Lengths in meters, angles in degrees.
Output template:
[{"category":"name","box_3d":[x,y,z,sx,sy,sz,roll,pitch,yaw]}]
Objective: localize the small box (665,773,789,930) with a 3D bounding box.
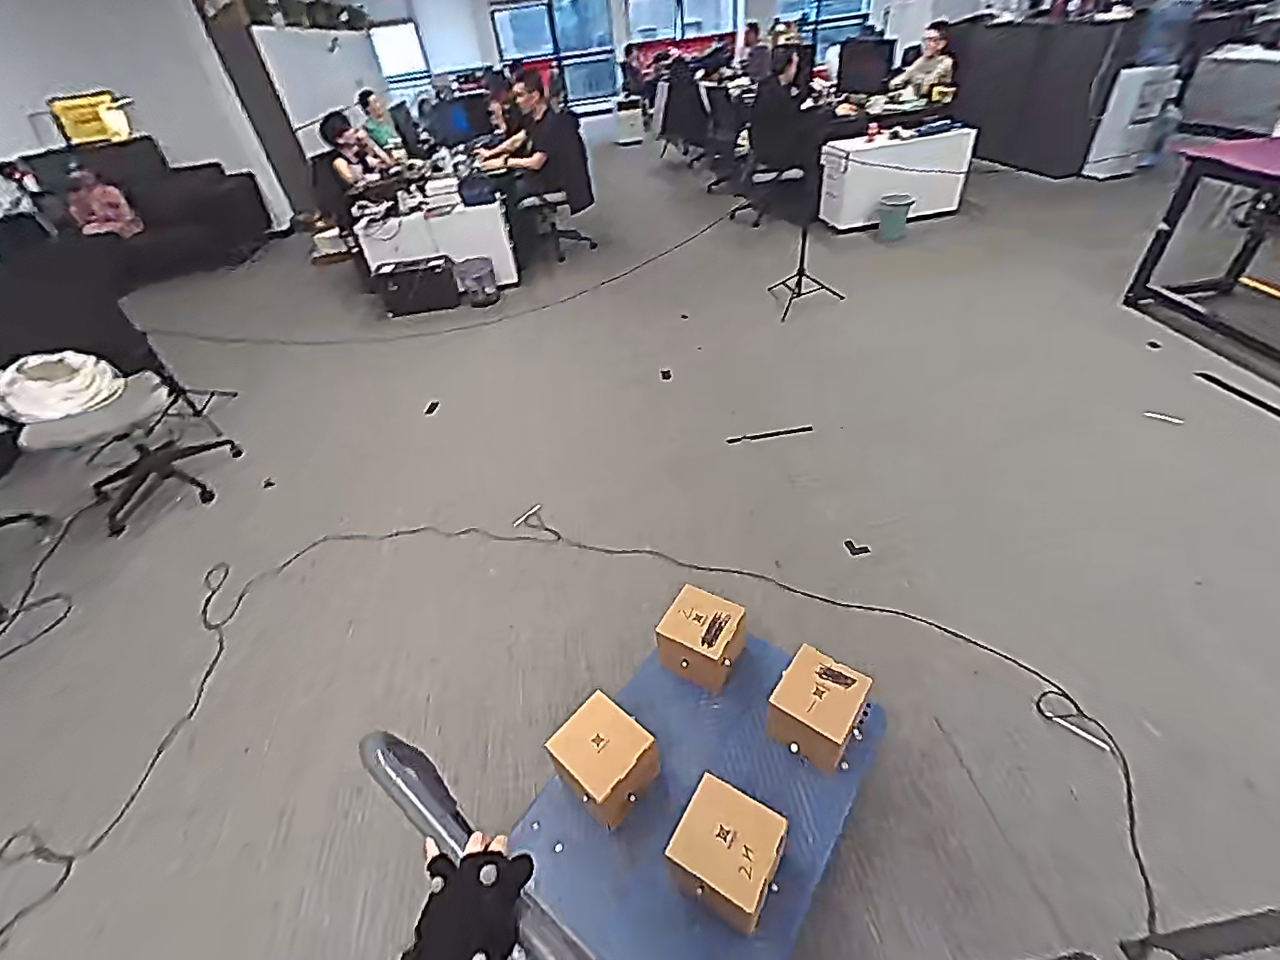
[{"category":"small box","box_3d":[0.168,0.715,1.040,0.179,0.176,0.168,20,47,28]}]

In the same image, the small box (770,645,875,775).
[{"category":"small box","box_3d":[0.406,0.522,1.230,0.168,0.176,0.179,24,51,32]}]

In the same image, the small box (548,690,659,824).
[{"category":"small box","box_3d":[-0.076,0.615,1.198,0.179,0.176,0.168,28,51,33]}]
